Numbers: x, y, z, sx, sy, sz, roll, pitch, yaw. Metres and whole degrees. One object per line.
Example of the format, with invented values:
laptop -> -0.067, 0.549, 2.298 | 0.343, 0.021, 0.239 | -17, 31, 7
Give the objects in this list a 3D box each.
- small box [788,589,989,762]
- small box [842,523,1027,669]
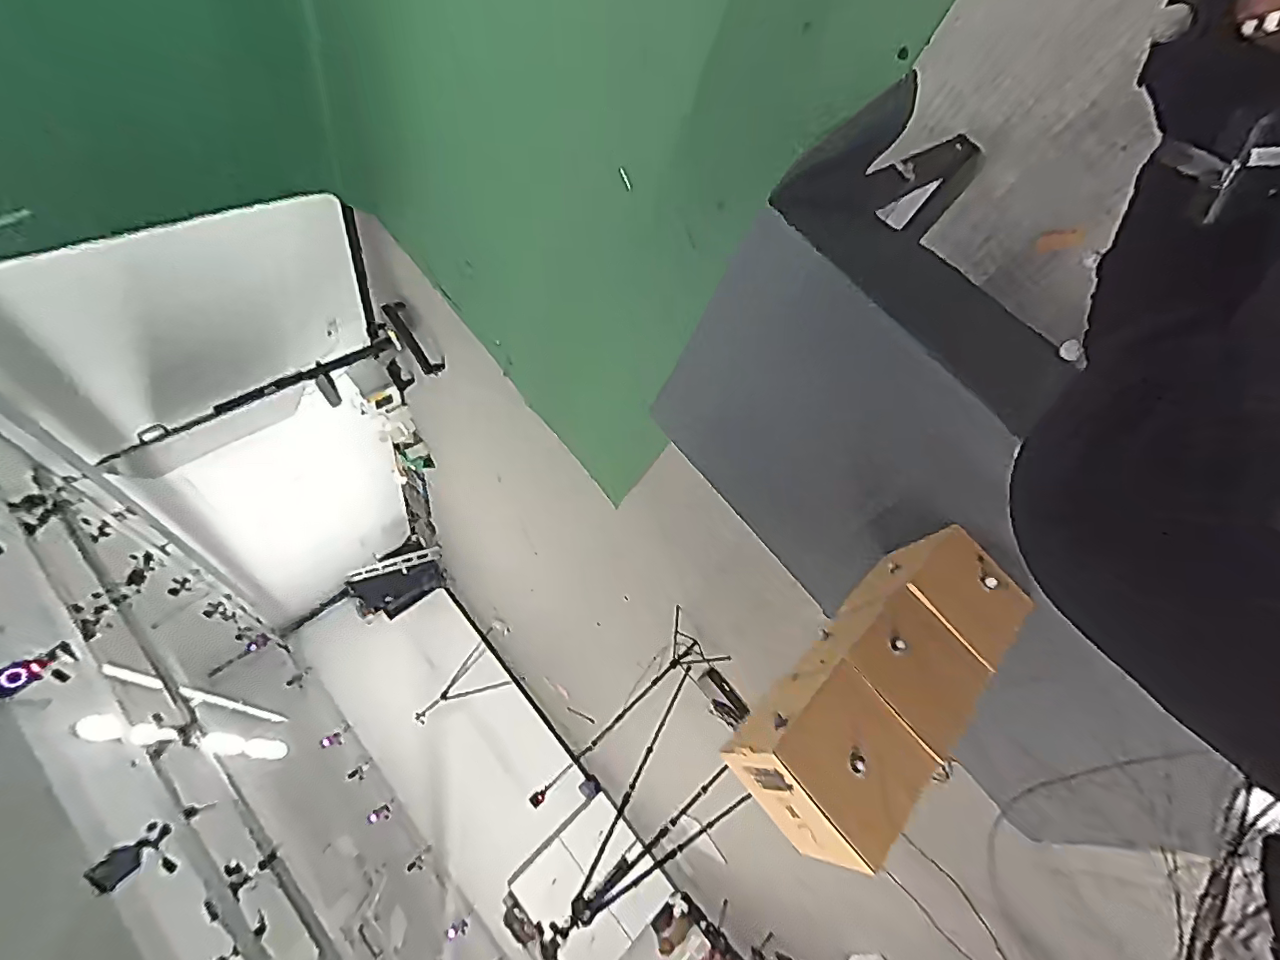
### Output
small box -> 0.365, 0.285, 0.806 | 0.179, 0.176, 0.168 | 48, 150, 12
small box -> 0.479, 0.200, 0.886 | 0.168, 0.176, 0.179 | 49, 149, 9
